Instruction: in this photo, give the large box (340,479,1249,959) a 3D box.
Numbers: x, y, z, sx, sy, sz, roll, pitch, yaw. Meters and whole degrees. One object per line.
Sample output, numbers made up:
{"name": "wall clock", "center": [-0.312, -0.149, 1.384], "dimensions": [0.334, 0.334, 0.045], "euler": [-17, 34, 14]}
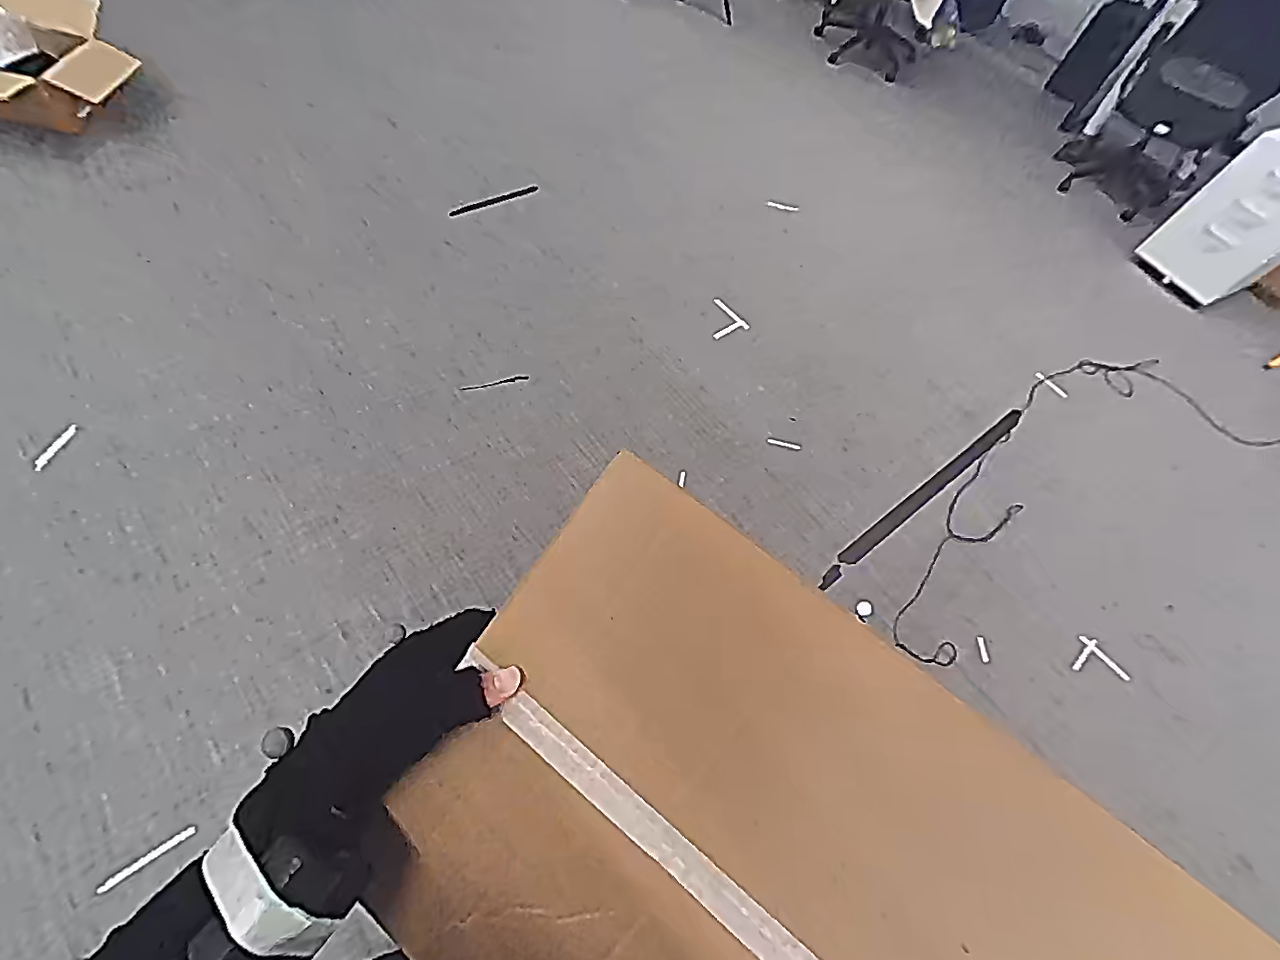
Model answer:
{"name": "large box", "center": [0.078, 0.244, 0.448], "dimensions": [0.408, 0.320, 0.320], "euler": [37, 92, 11]}
